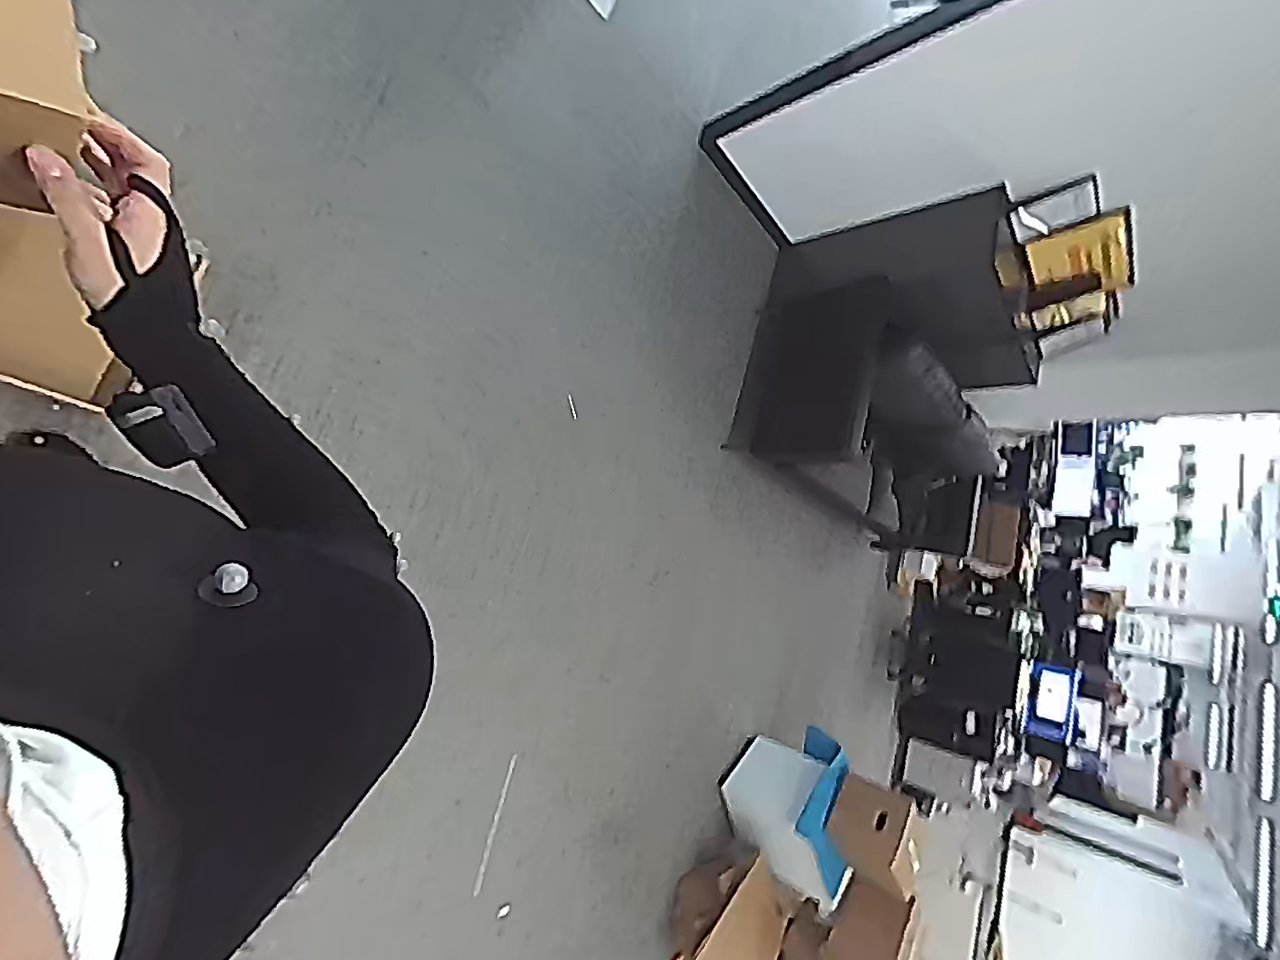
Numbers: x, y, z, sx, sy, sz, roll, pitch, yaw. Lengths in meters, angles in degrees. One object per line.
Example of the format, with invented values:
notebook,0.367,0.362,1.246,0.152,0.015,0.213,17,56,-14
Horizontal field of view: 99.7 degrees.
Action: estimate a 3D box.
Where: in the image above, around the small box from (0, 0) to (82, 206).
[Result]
small box,-0.468,-0.296,0.321,0.168,0.176,0.179,-9,93,-53
